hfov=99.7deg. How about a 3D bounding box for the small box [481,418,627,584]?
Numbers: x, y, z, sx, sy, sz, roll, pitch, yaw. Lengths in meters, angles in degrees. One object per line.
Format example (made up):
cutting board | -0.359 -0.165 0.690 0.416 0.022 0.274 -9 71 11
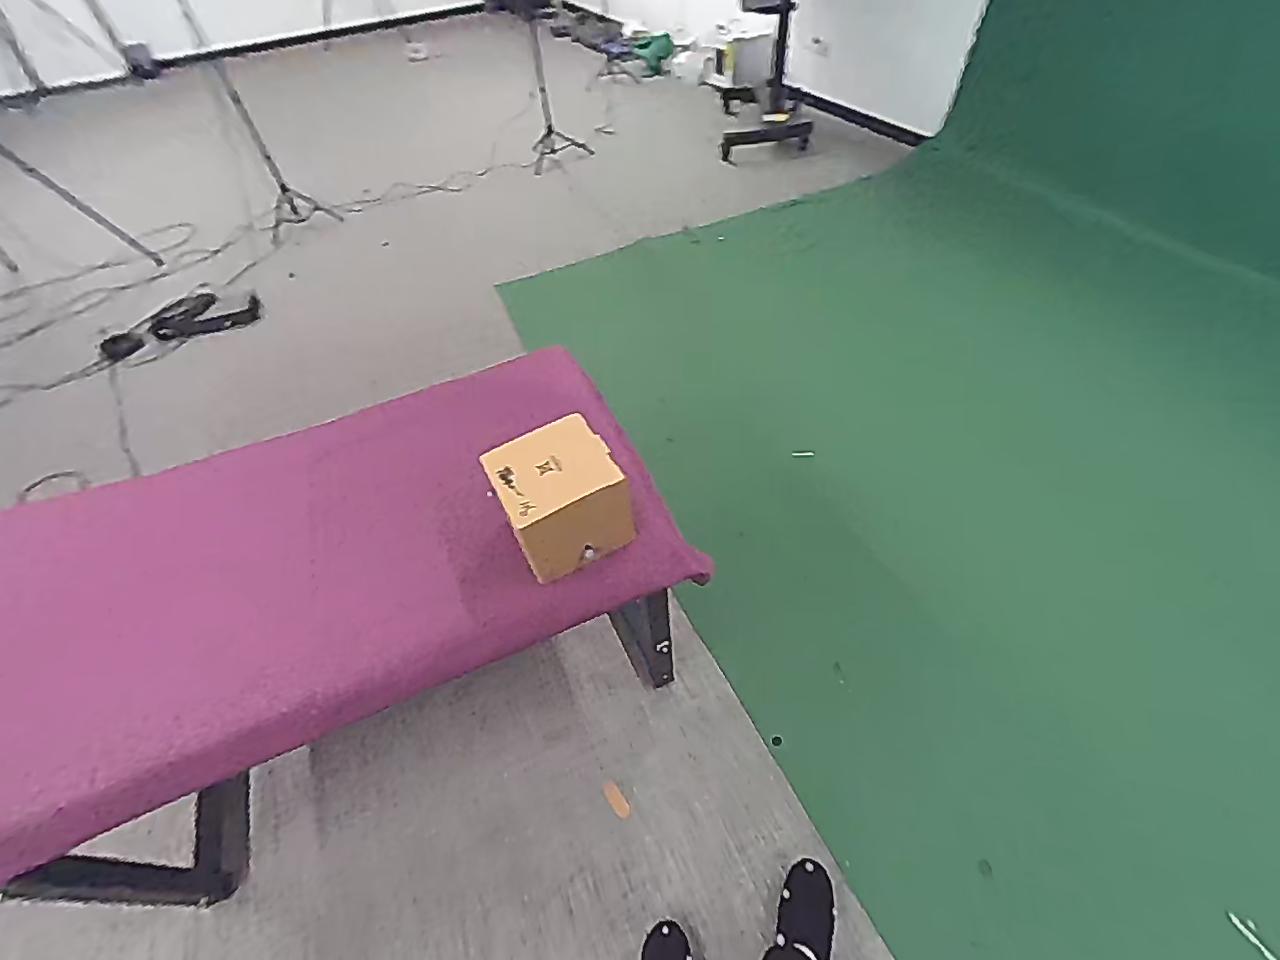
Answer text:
small box | -0.130 0.036 0.877 0.179 0.176 0.168 -26 53 -15
